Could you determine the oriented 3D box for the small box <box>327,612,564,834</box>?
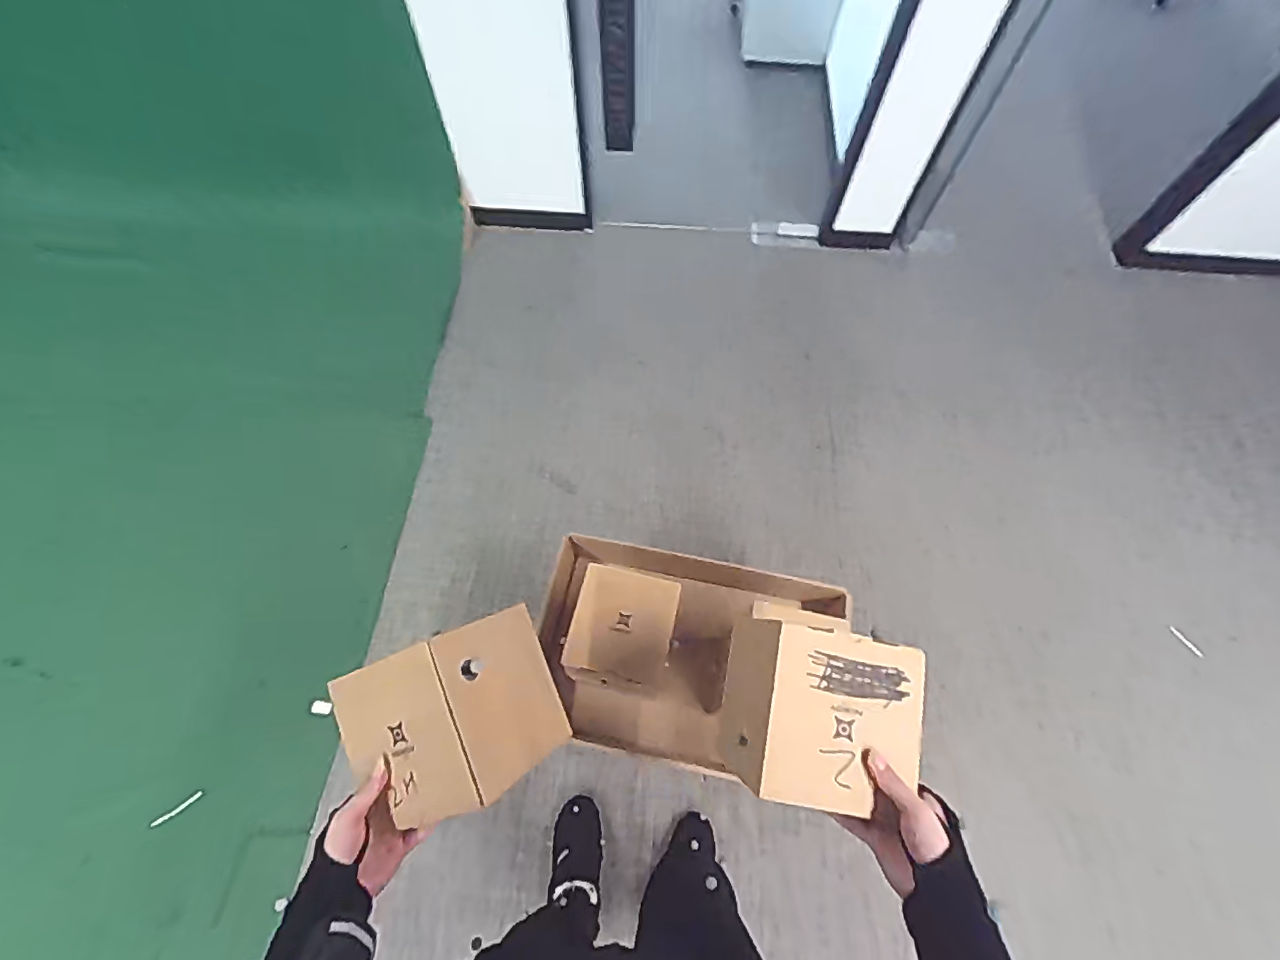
[{"bbox_3d":[-0.220,0.269,0.639,0.168,0.176,0.179,-27,81,22],"label":"small box"}]

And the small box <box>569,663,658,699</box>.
[{"bbox_3d":[-0.030,0.343,1.110,0.179,0.176,0.168,14,65,6],"label":"small box"}]

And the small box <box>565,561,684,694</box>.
[{"bbox_3d":[-0.025,0.269,0.965,0.168,0.176,0.179,12,65,5],"label":"small box"}]

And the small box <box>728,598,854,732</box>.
[{"bbox_3d":[0.253,0.326,0.935,0.168,0.176,0.179,13,63,5],"label":"small box"}]
